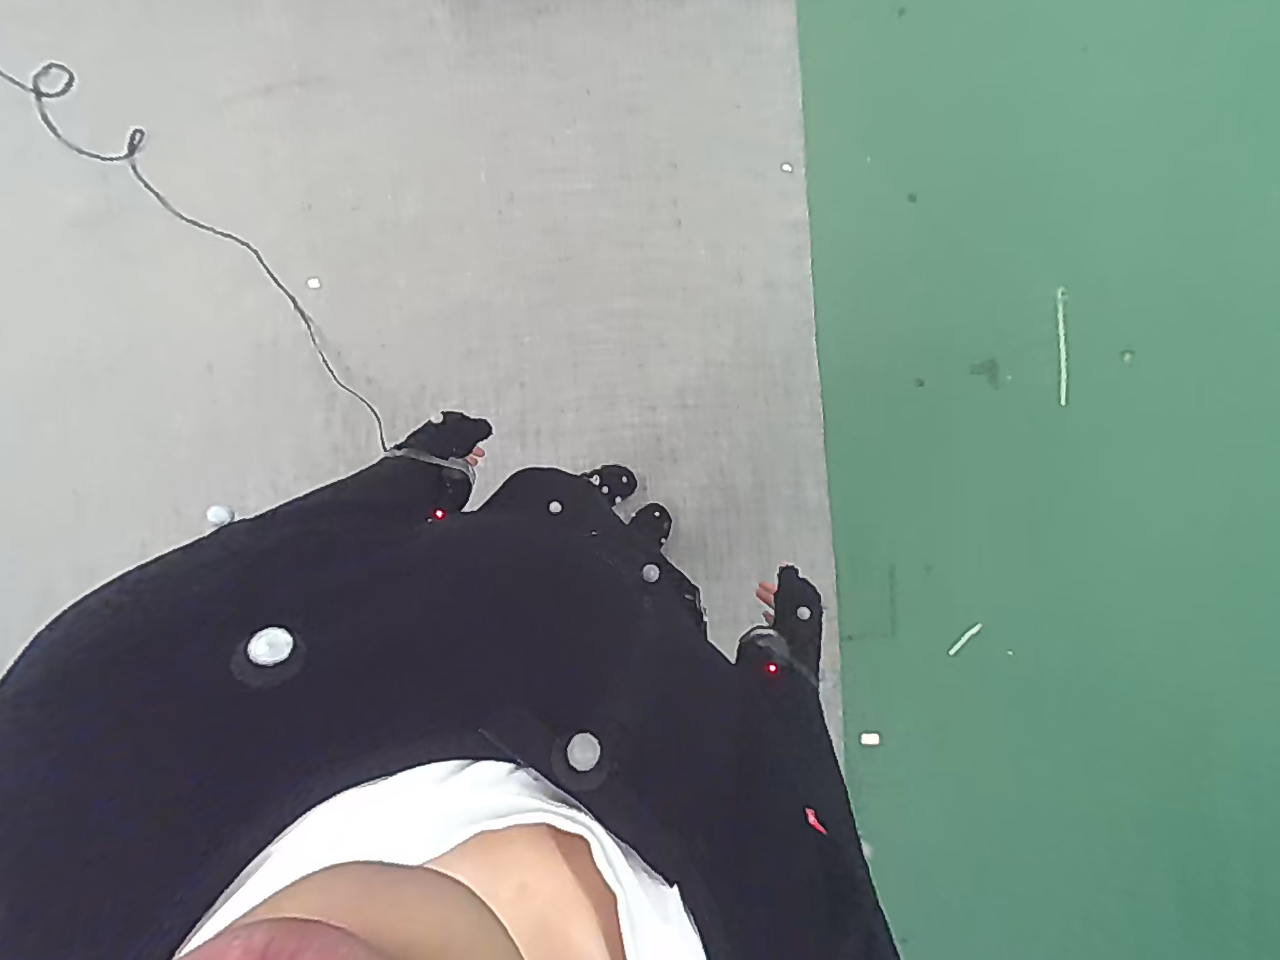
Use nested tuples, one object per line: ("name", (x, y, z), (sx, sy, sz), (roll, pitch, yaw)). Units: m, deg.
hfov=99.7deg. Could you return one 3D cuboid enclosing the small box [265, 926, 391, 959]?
("small box", (-0.464, 0.771, 0.756), (0.179, 0.176, 0.168), (-5, 87, -1))
